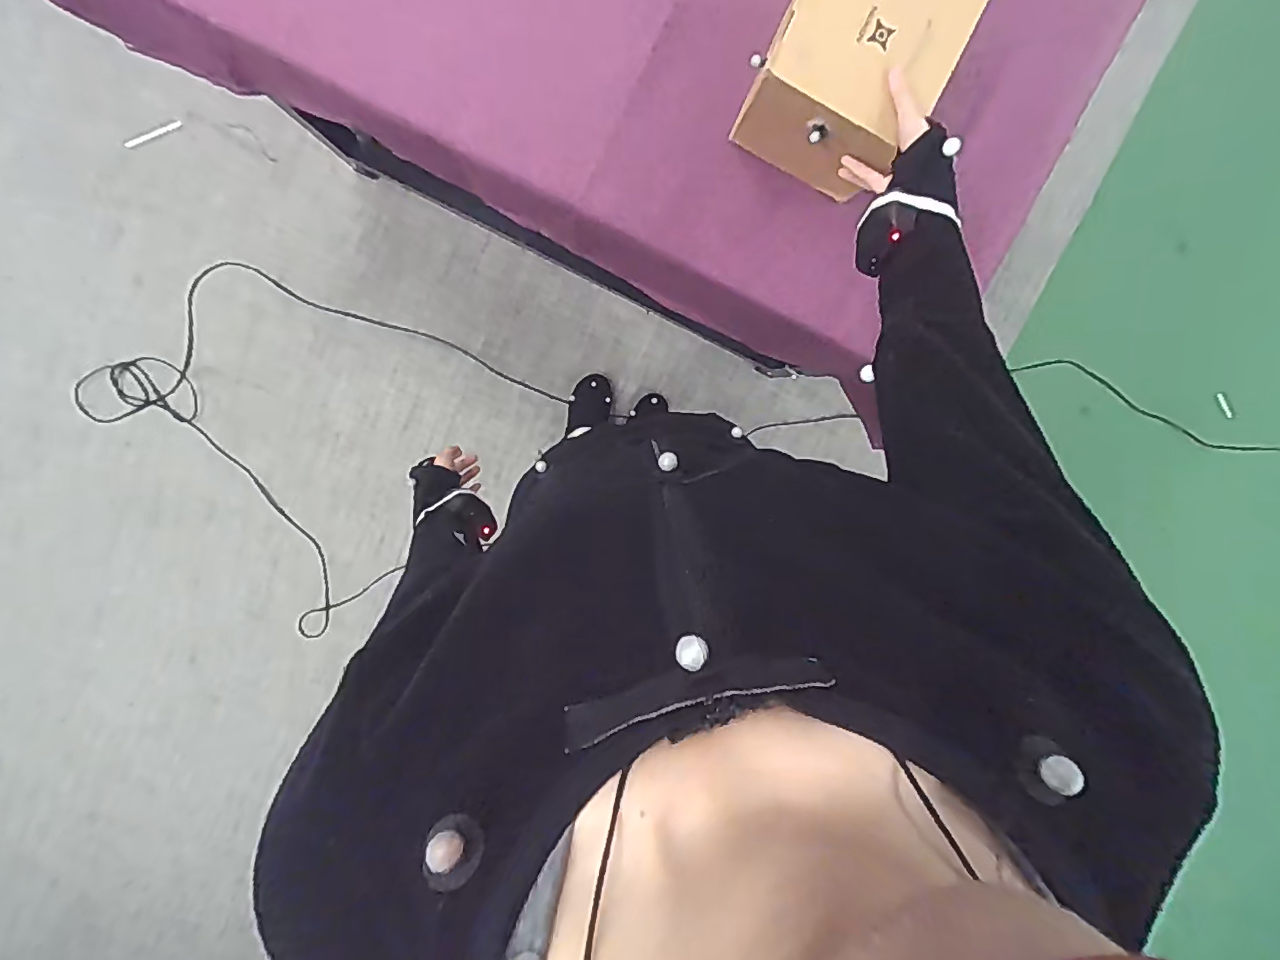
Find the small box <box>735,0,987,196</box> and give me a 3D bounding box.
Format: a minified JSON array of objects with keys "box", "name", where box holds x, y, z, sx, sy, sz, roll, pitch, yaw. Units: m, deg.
[{"box":[0.231,-0.461,0.619,0.179,0.176,0.168,25,98,-8],"name":"small box"}]
